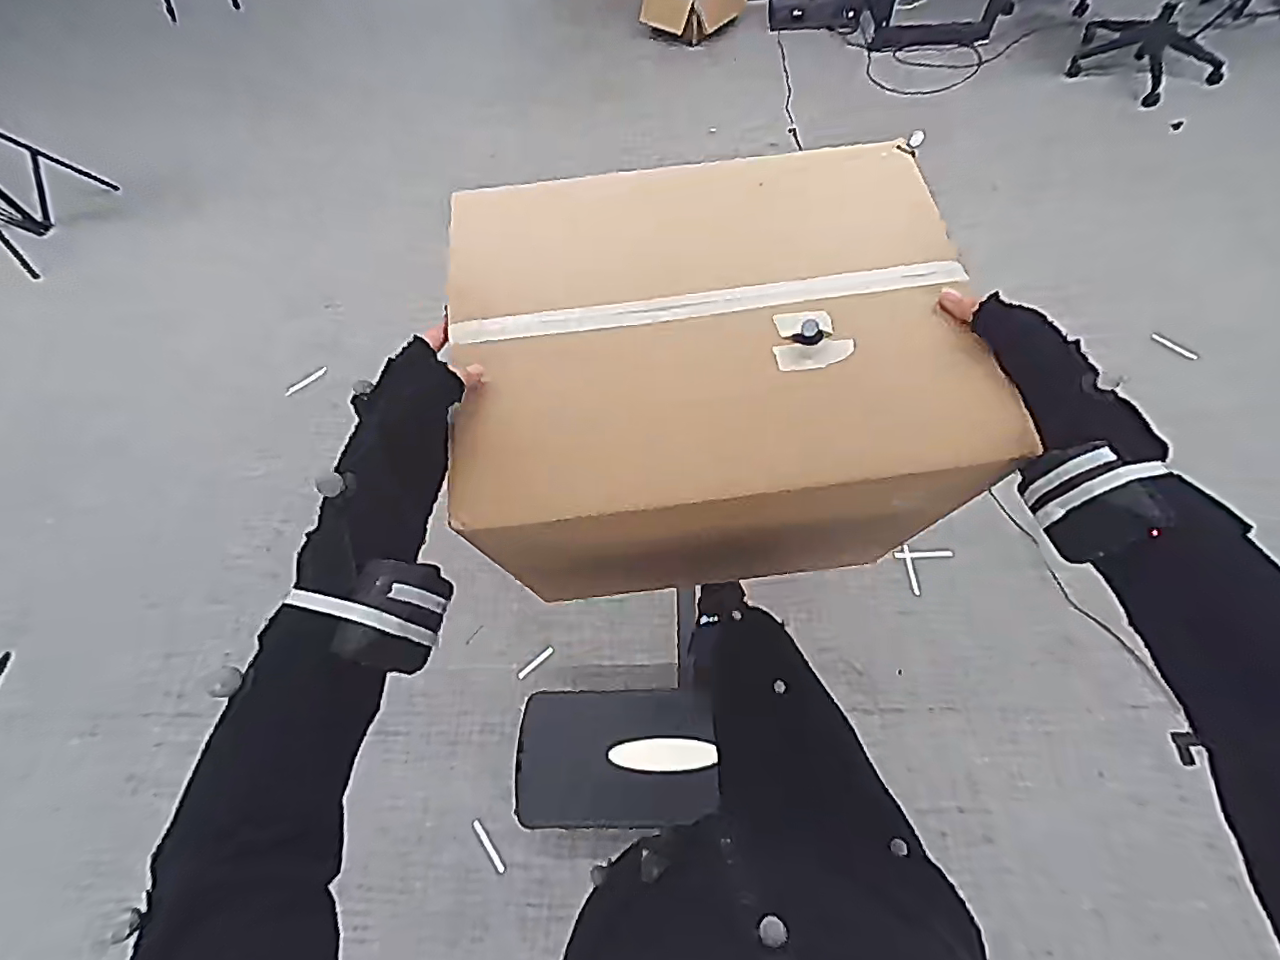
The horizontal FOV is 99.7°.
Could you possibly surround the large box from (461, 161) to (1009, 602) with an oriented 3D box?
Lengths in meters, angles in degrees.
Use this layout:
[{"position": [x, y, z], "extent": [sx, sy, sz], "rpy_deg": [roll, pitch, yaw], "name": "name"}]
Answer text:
[{"position": [0.056, -0.074, 0.578], "extent": [0.408, 0.320, 0.320], "rpy_deg": [-8, 68, -1], "name": "large box"}]
